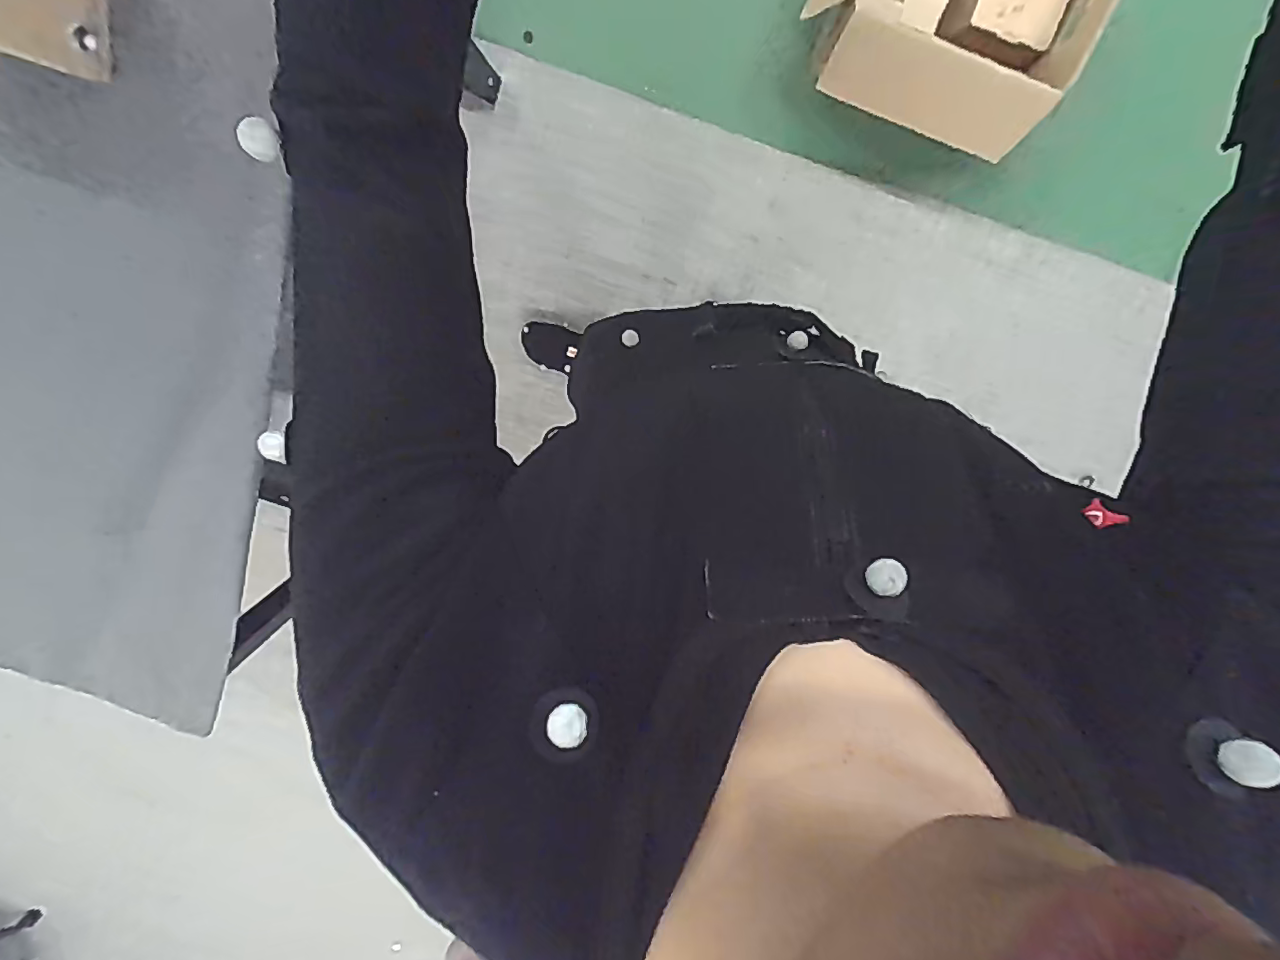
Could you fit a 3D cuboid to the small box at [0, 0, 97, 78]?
[{"bbox_3d":[-0.646,-0.500,0.486,0.179,0.176,0.168,16,108,-3],"label":"small box"}]
